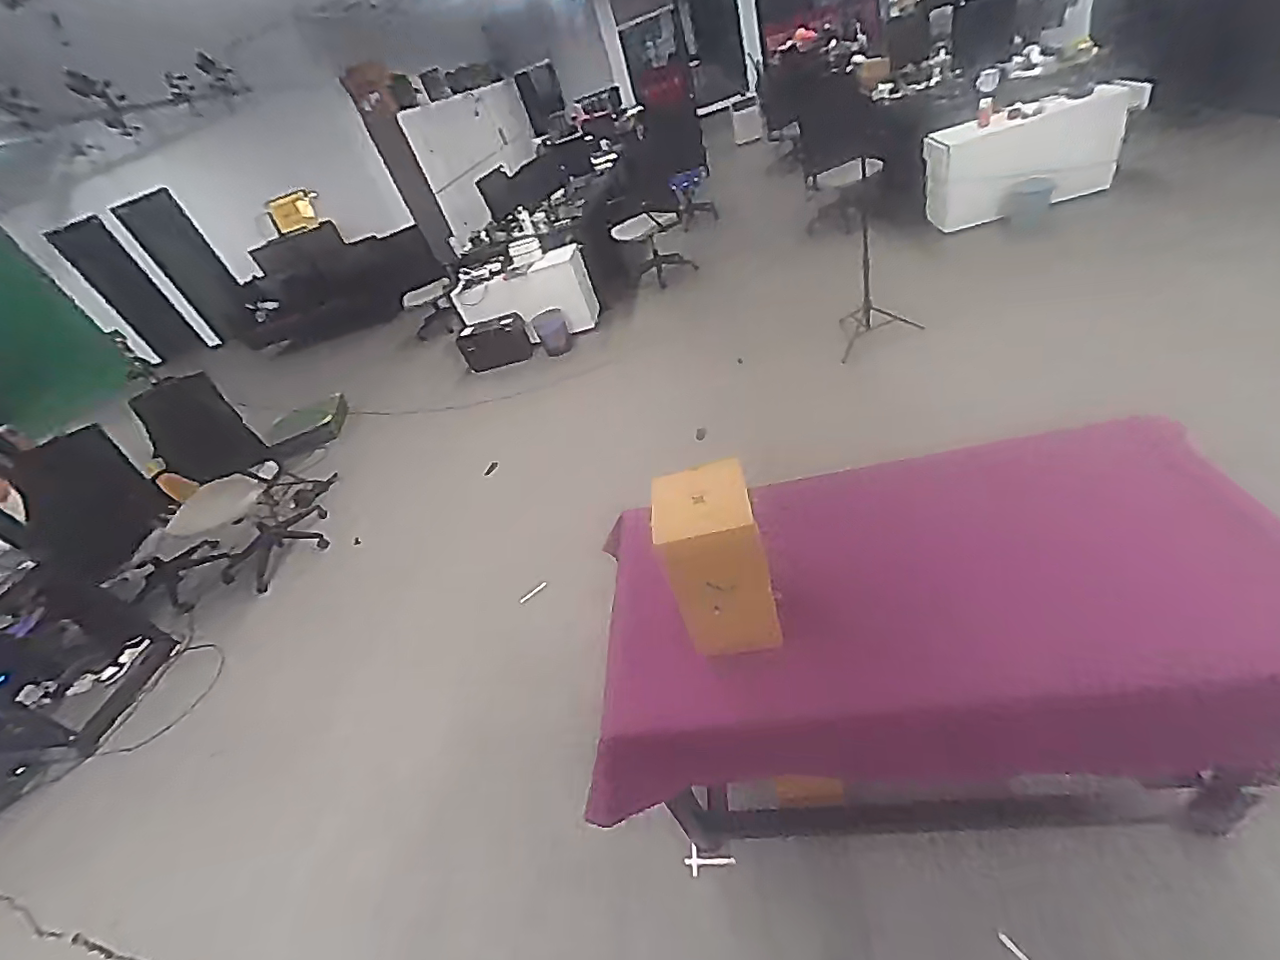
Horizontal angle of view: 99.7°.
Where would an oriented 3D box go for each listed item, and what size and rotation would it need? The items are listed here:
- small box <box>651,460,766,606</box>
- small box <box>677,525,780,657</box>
[{"bbox_3d":[0.120,0.095,0.961,0.168,0.176,0.179,-13,38,11],"label":"small box"},{"bbox_3d":[0.171,0.218,1.057,0.168,0.176,0.179,-12,38,12],"label":"small box"}]
